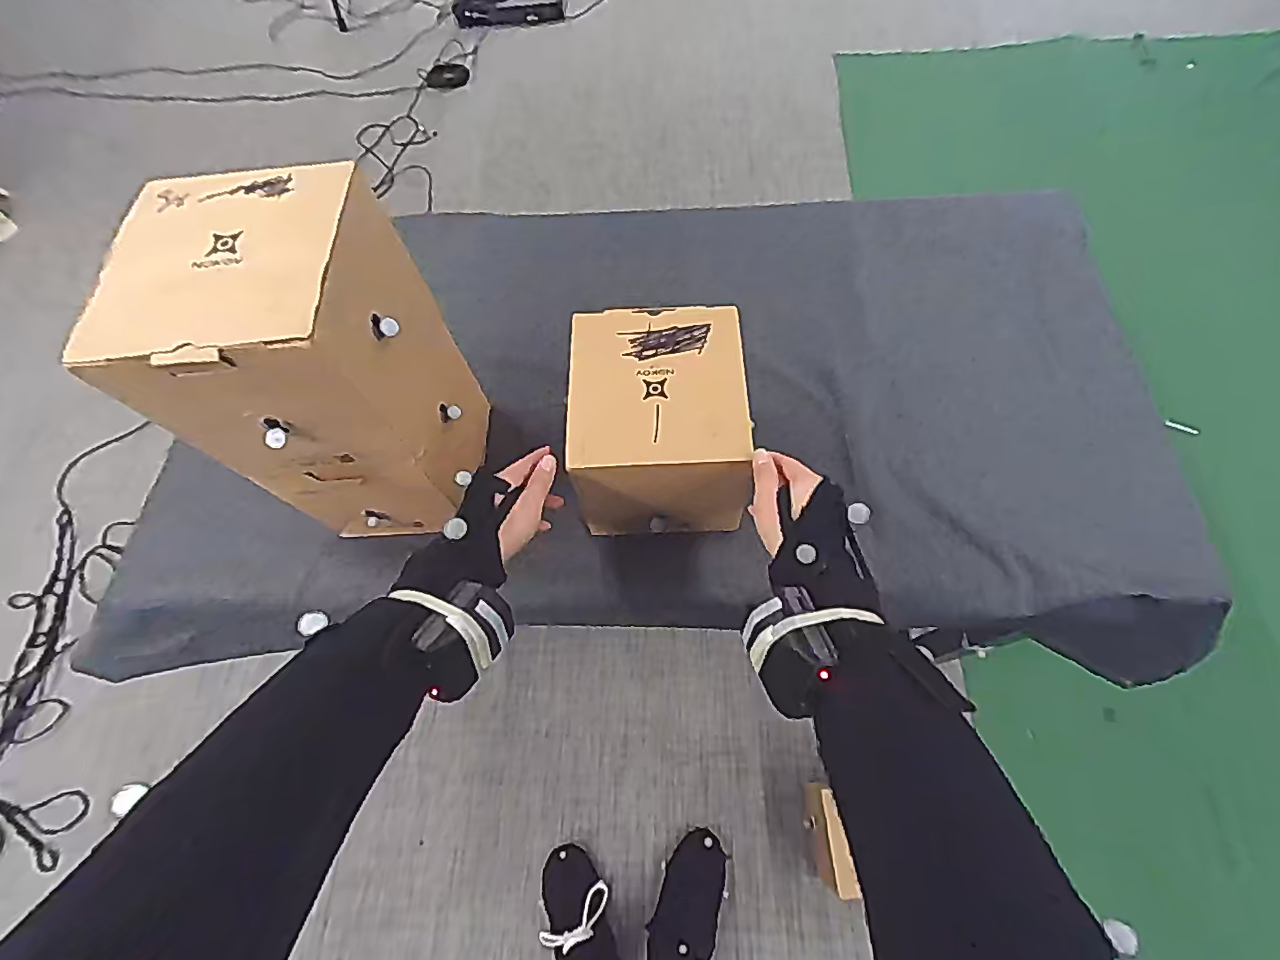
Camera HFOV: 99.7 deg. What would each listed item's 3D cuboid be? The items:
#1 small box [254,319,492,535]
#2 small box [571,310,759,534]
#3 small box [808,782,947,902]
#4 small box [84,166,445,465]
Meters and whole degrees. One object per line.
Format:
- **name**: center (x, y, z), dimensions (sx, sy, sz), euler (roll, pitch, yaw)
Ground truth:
- **small box**: center (-0.272, -0.052, 0.600), dimensions (0.168, 0.176, 0.179), euler (-3, 64, 2)
- **small box**: center (0.026, -0.054, 0.574), dimensions (0.168, 0.176, 0.179), euler (-2, 64, 4)
- **small box**: center (0.428, 0.663, 1.006), dimensions (0.179, 0.176, 0.168), euler (-4, 63, 4)
- **small box**: center (-0.278, -0.121, 0.452), dimensions (0.168, 0.176, 0.179), euler (-5, 65, 2)
